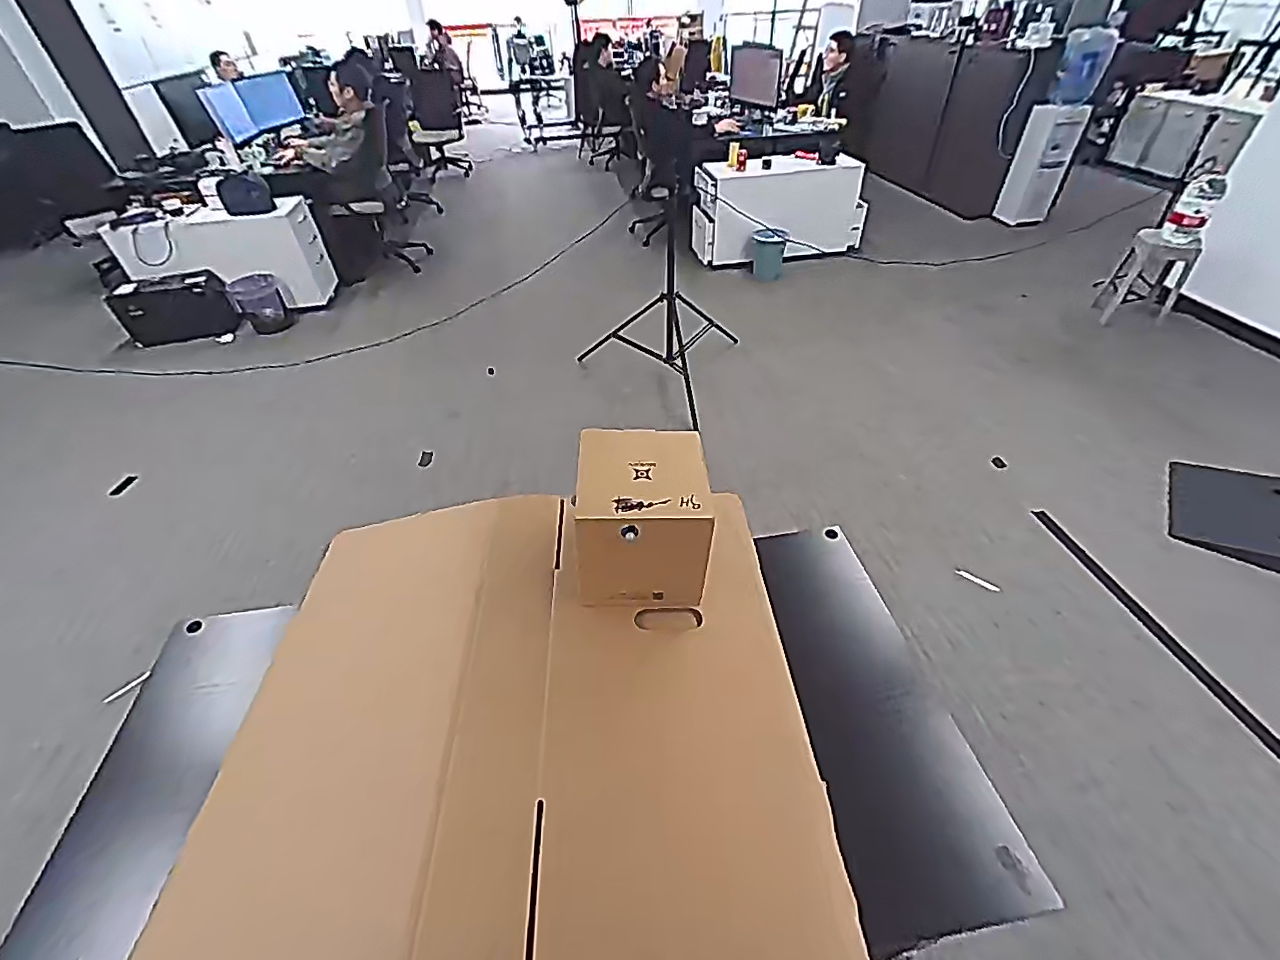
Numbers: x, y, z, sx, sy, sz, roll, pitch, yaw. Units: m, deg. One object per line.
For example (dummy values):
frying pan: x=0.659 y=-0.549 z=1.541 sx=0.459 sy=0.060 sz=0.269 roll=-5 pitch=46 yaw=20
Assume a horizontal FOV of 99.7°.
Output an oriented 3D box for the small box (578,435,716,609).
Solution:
small box: x=0.004 y=0.055 z=0.743 sx=0.168 sy=0.176 sz=0.179 roll=0 pitch=40 yaw=-2
